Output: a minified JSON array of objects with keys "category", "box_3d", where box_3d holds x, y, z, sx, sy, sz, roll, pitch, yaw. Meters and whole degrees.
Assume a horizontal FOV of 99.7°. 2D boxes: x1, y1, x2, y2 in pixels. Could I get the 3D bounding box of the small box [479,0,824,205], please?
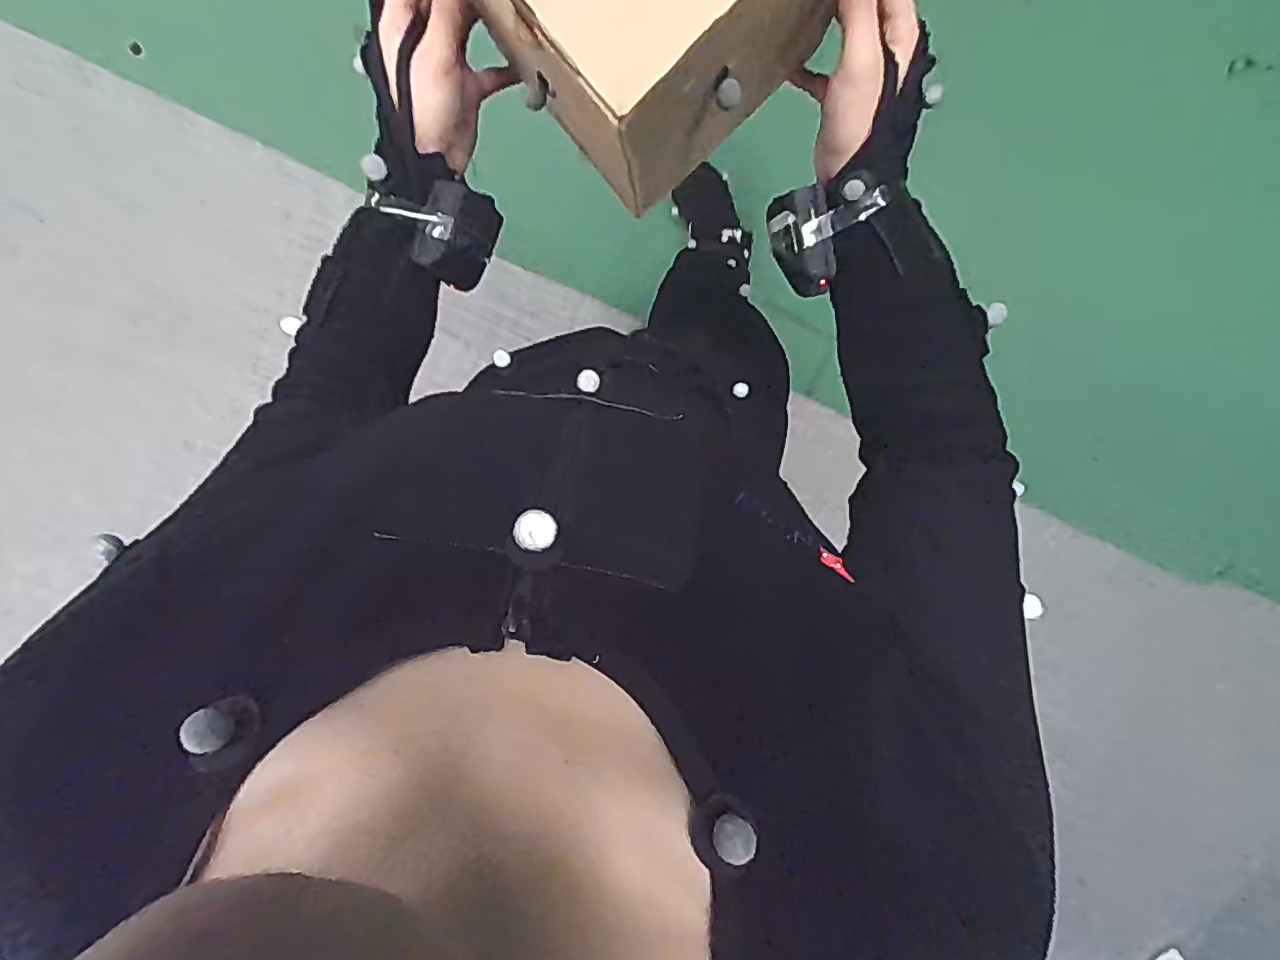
[{"category":"small box","box_3d":[0.006,-0.306,0.325,0.179,0.176,0.168,-41,95,11]}]
